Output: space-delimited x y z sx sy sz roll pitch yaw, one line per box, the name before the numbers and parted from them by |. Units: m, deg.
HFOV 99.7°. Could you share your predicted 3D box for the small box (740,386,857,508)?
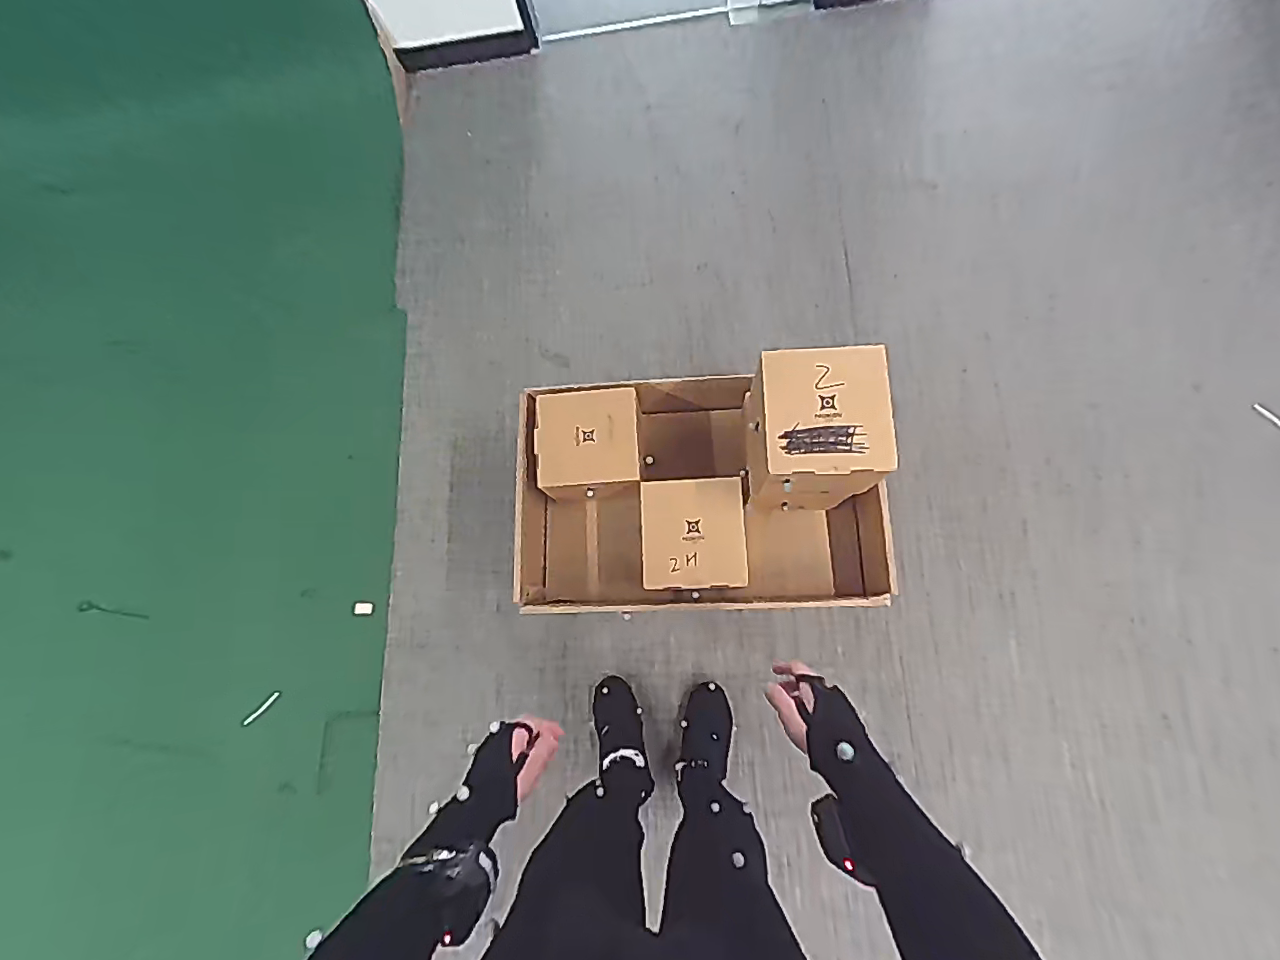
small box | 0.268 -0.051 0.950 0.168 0.176 0.179 -2 78 6
